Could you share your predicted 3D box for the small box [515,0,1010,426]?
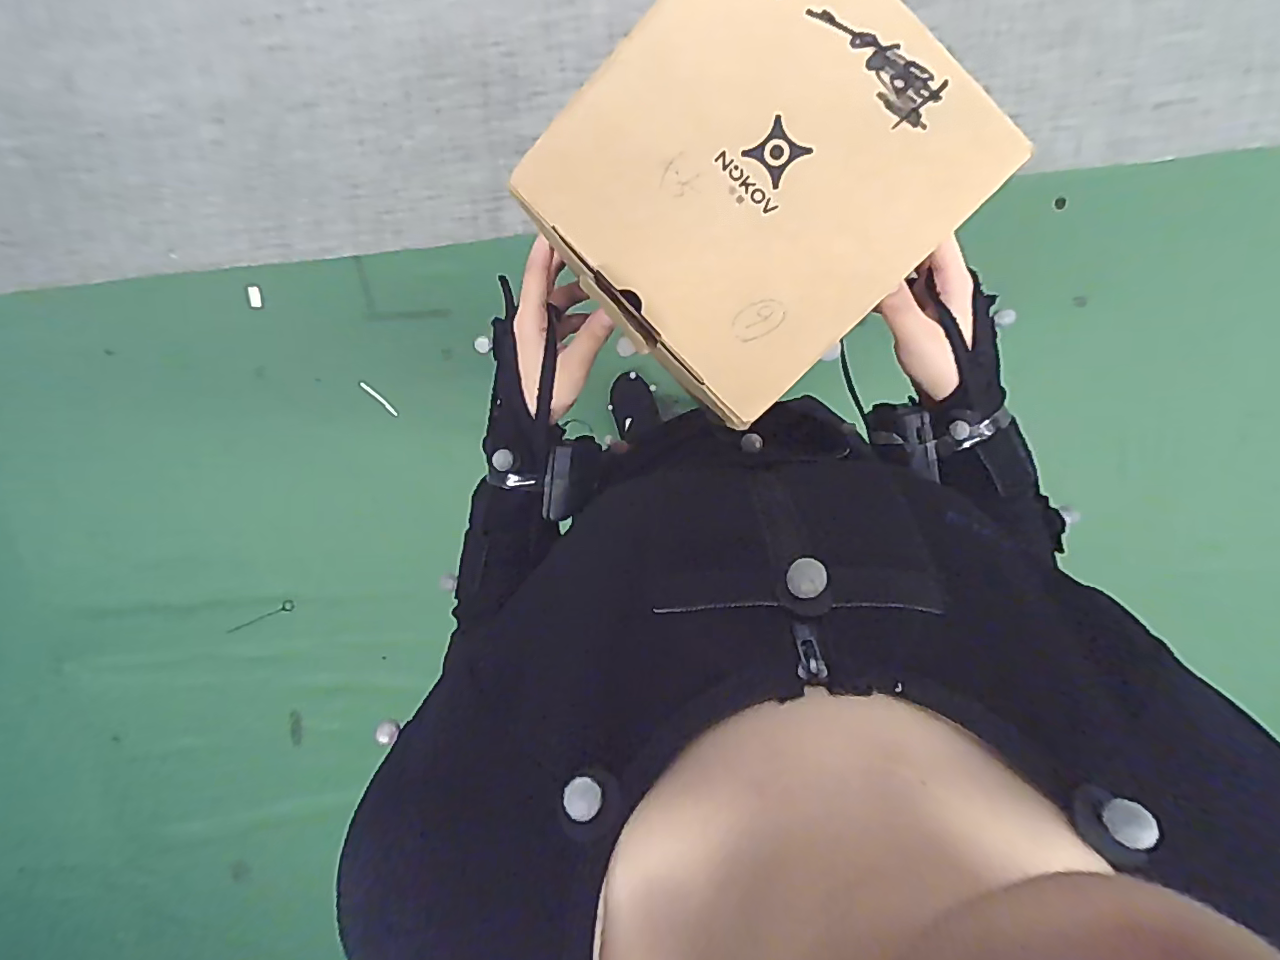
[{"bbox_3d":[0.061,-0.151,0.334,0.179,0.176,0.168,-44,92,9],"label":"small box"}]
